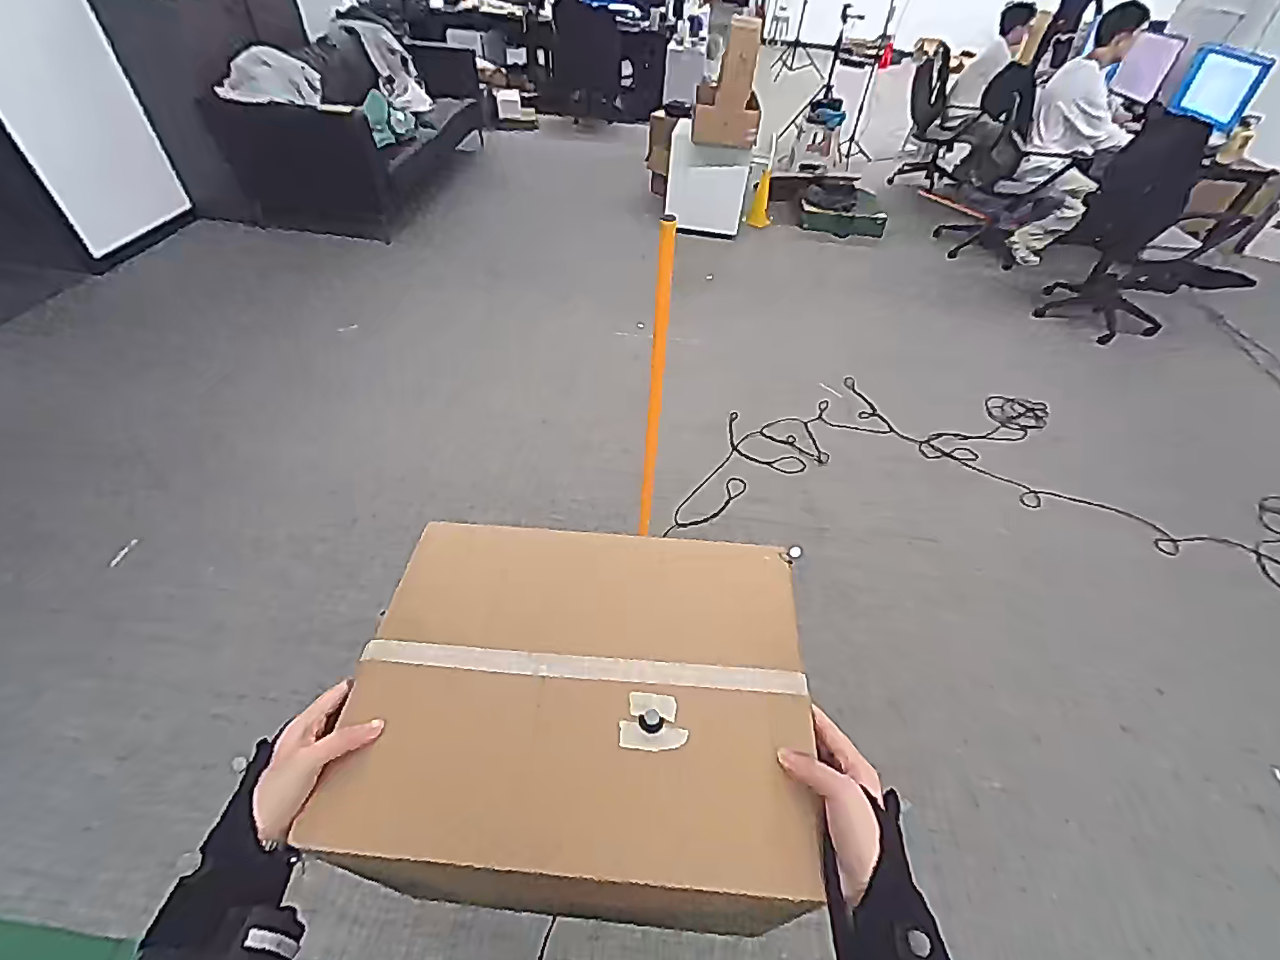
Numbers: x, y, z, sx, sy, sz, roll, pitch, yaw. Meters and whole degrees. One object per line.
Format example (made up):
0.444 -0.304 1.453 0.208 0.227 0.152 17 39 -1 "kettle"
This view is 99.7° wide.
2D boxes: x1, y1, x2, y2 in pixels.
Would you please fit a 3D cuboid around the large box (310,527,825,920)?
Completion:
-0.054 0.278 0.618 0.408 0.320 0.320 4 47 2 "large box"
